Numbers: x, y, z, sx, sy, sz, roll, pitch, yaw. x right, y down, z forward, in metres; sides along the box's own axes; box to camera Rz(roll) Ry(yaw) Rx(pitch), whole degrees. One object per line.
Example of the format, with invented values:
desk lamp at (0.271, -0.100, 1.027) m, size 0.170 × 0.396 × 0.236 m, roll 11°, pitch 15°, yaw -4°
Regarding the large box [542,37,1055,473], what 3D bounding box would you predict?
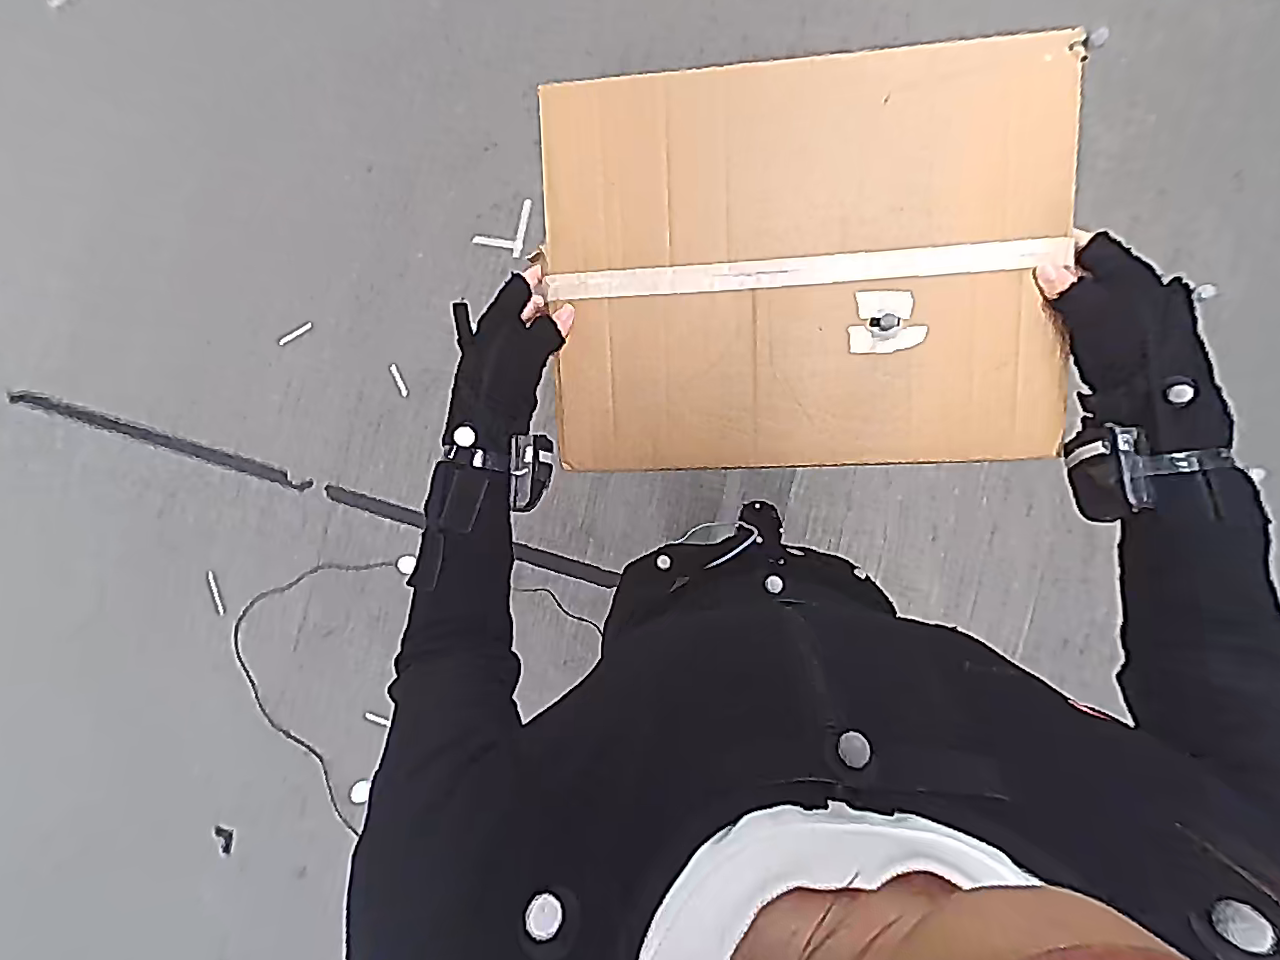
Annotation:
large box at (0.137, -0.187, 0.591) m, size 0.408 × 0.320 × 0.320 m, roll -3°, pitch 97°, yaw 6°
